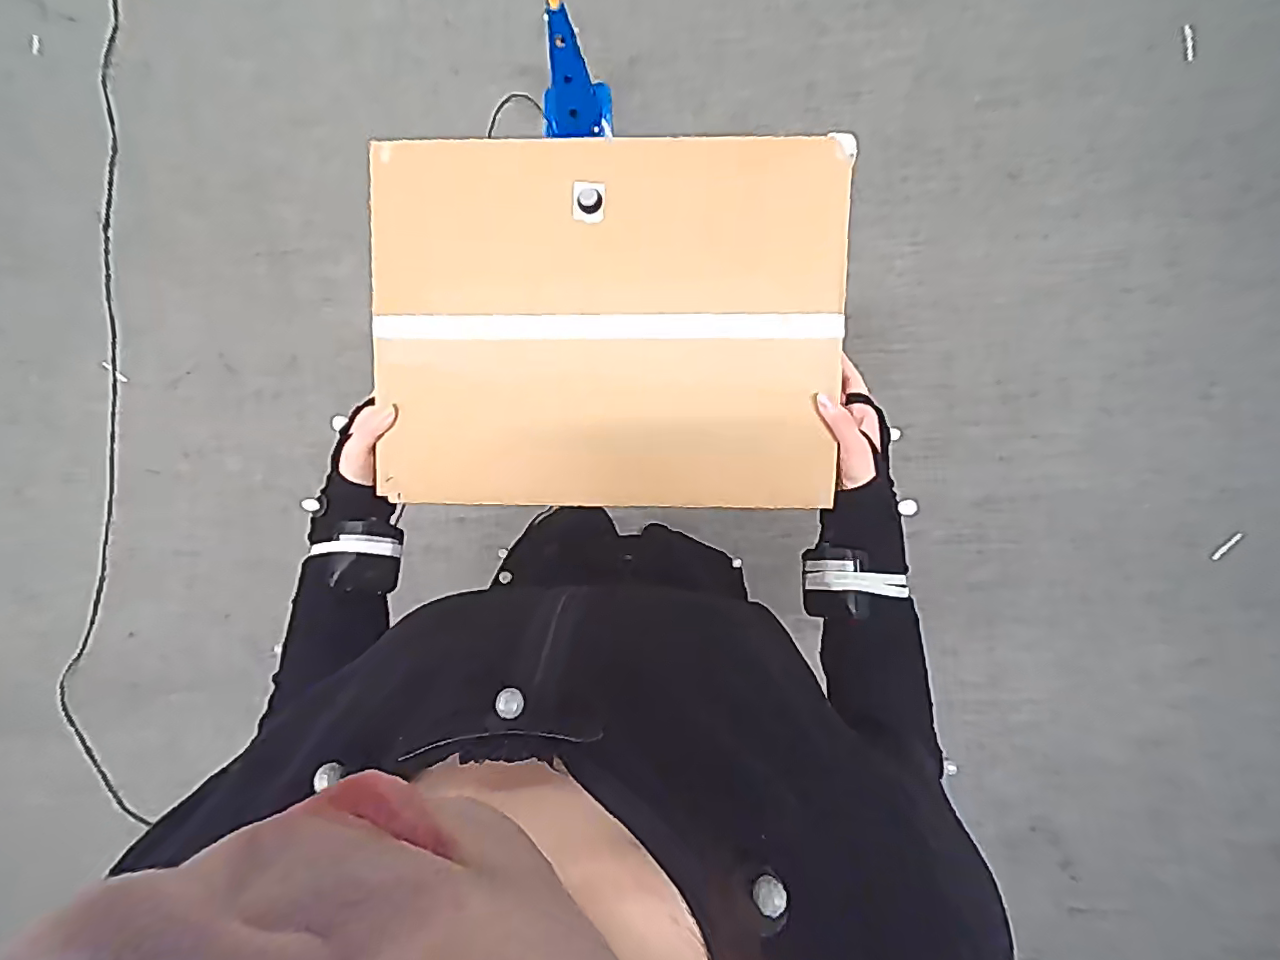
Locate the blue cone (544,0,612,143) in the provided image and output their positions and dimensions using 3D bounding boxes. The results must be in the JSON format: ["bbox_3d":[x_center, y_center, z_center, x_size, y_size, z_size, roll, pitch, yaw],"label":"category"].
[{"bbox_3d":[-0.185,-1.084,1.403,0.193,0.380,0.192,-5,86,1],"label":"blue cone"}]
